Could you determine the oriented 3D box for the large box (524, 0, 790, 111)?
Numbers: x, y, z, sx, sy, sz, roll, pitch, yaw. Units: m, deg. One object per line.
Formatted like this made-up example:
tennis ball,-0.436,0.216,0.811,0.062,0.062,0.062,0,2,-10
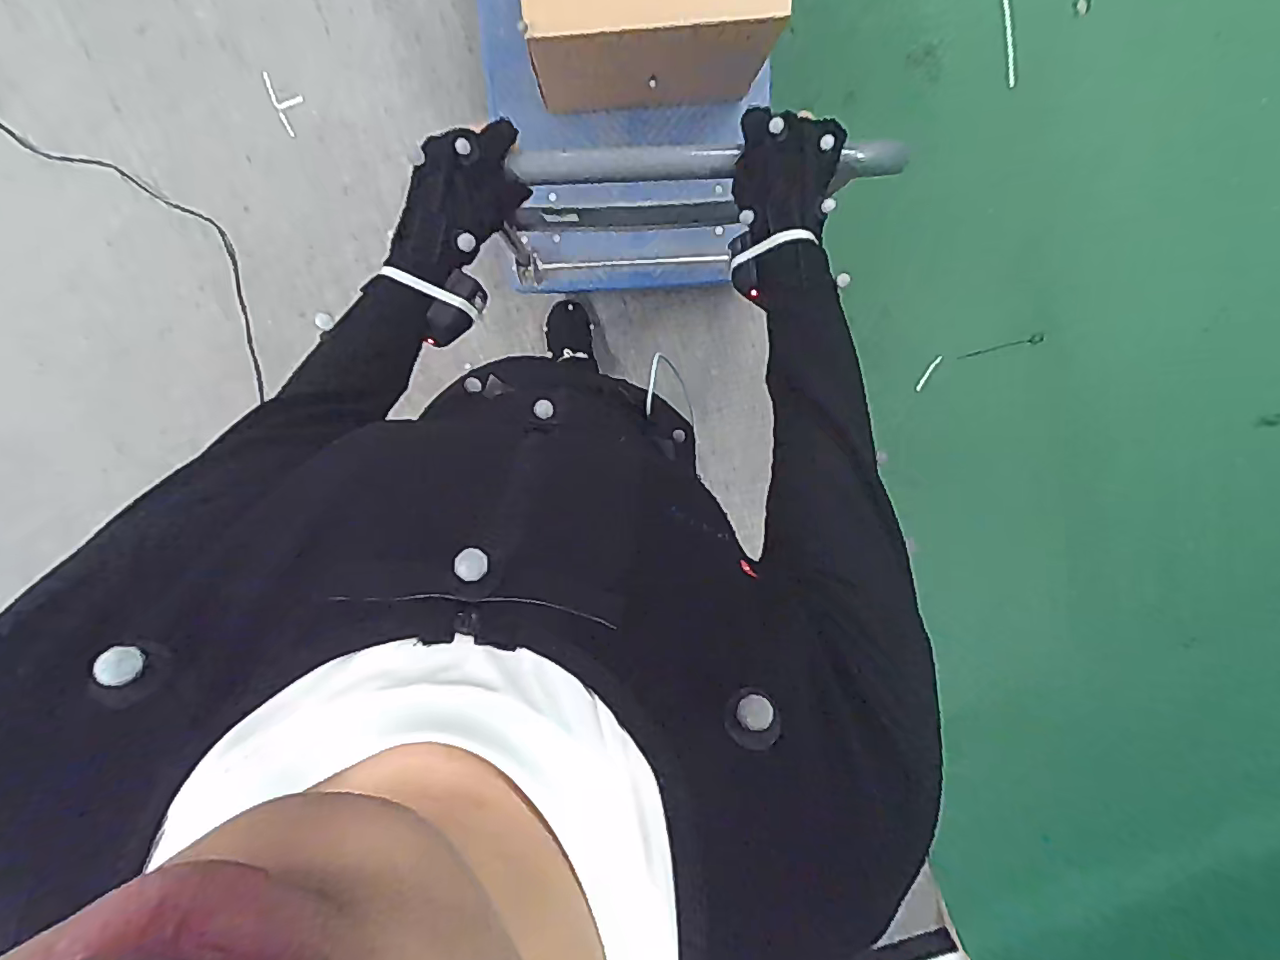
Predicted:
large box,0.010,-0.870,0.915,0.408,0.320,0.320,-6,106,-1
